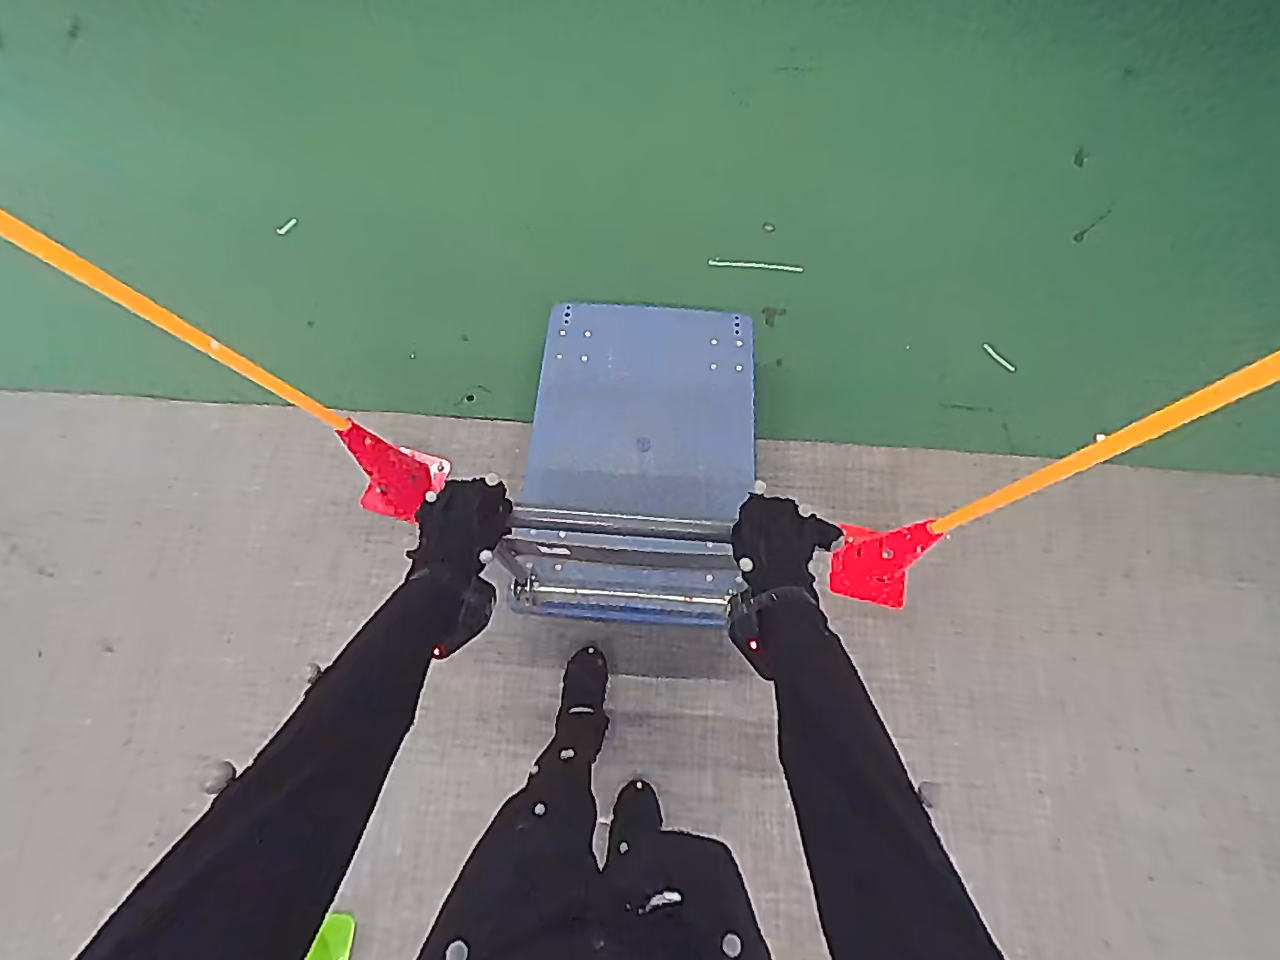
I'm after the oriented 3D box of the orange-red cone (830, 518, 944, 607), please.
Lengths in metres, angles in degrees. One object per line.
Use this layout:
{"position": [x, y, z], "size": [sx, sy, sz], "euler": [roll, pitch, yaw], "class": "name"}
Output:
{"position": [0.613, 0.162, 1.280], "size": [0.198, 0.360, 0.199], "euler": [14, 70, 6], "class": "orange-red cone"}
